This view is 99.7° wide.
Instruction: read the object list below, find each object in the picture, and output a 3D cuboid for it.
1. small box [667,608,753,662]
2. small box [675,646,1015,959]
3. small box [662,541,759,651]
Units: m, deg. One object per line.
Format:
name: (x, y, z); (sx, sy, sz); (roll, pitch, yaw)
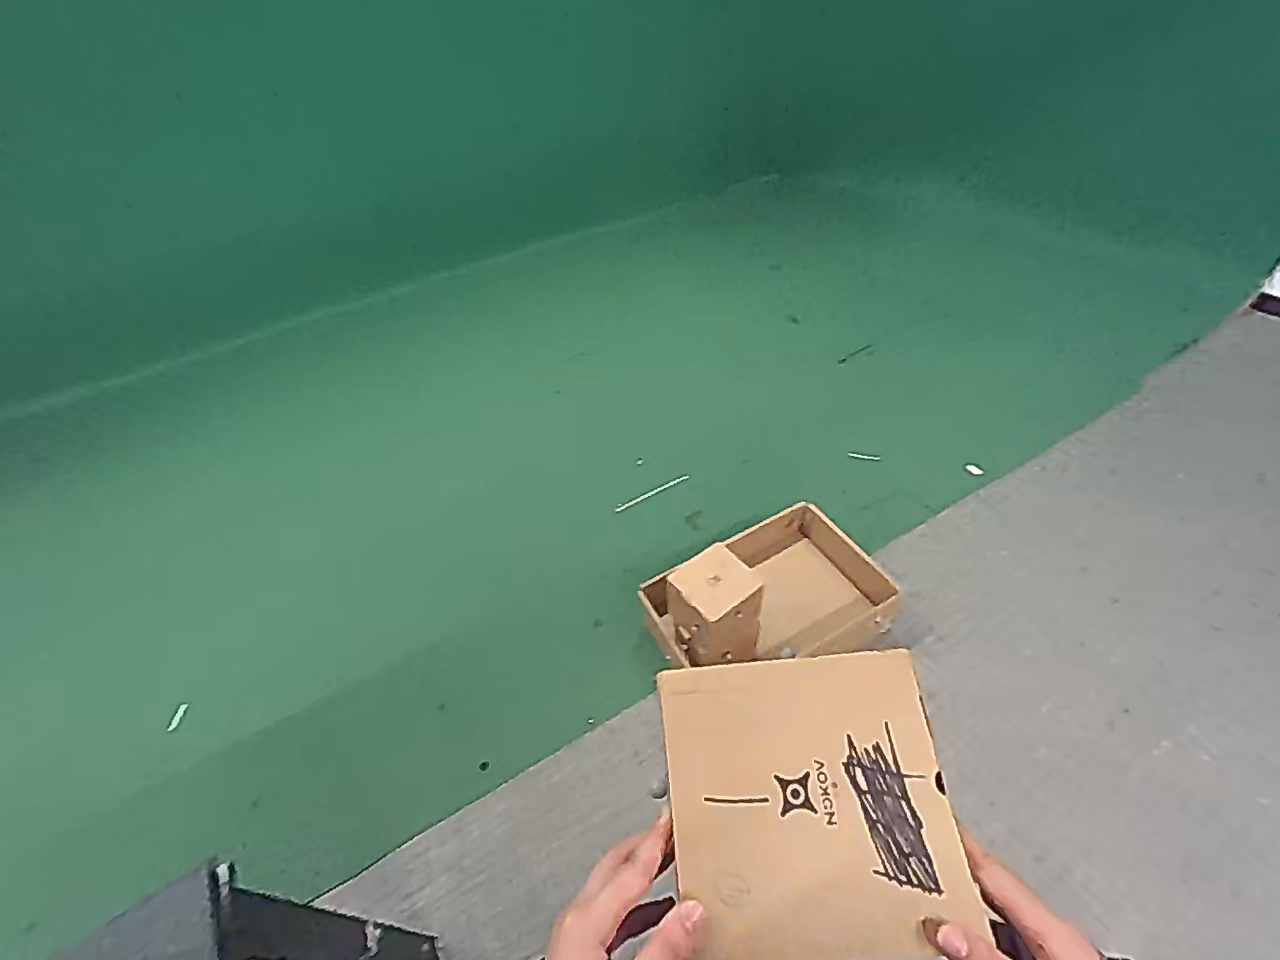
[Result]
small box: (0.191, 0.406, 1.476); (0.179, 0.176, 0.168); (-23, 49, -15)
small box: (0.121, 0.226, 0.406); (0.179, 0.176, 0.168); (-4, 63, 0)
small box: (0.174, 0.294, 1.357); (0.179, 0.176, 0.168); (-30, 51, -24)
